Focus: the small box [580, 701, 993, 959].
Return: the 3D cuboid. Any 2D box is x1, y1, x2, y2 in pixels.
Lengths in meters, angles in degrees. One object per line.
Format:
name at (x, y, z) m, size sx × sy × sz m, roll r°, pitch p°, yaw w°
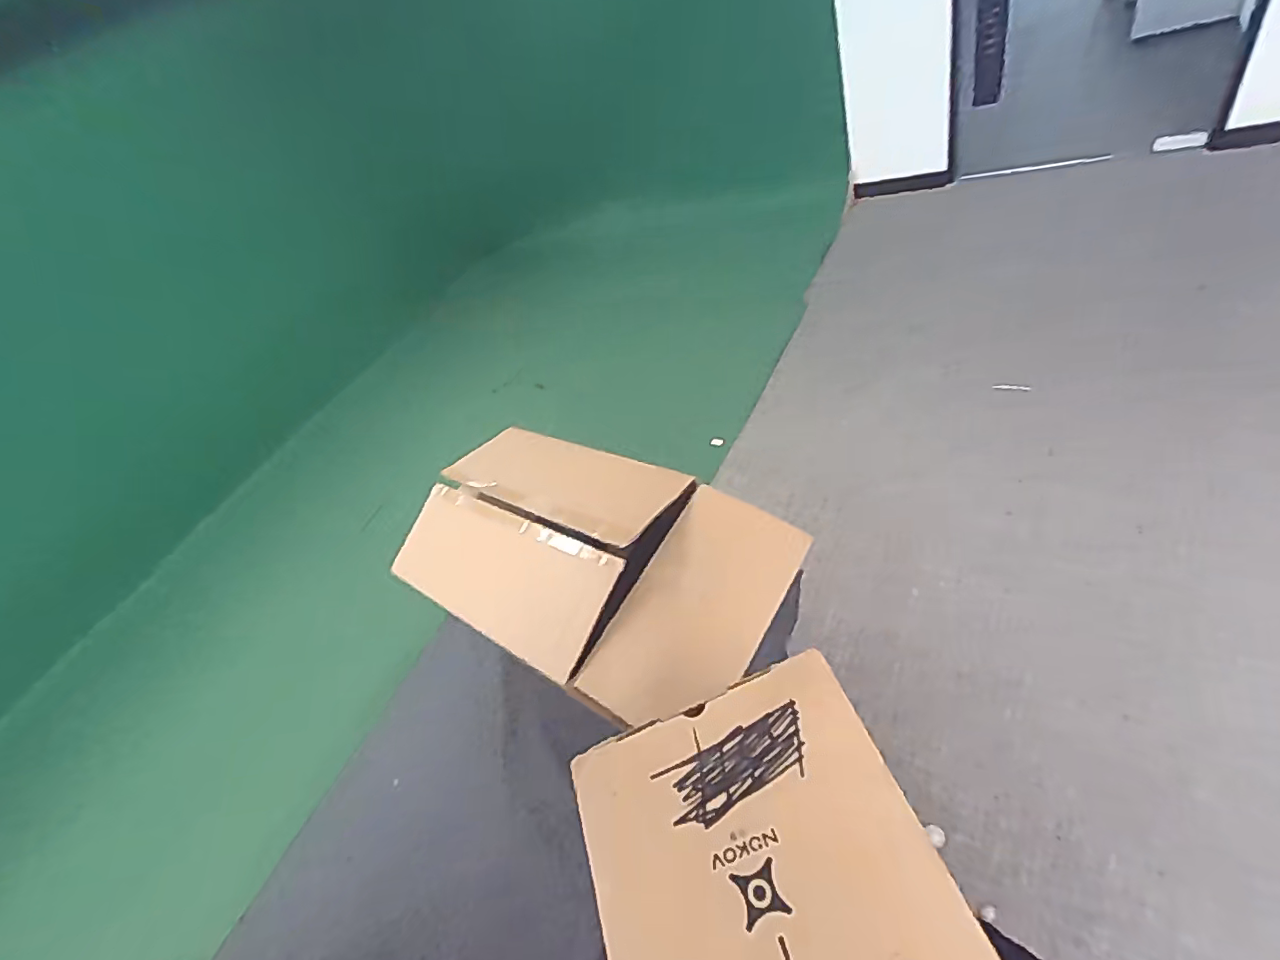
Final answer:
small box at (0.088, 0.259, 0.298) m, size 0.168 × 0.176 × 0.179 m, roll -26°, pitch 47°, yaw 4°
